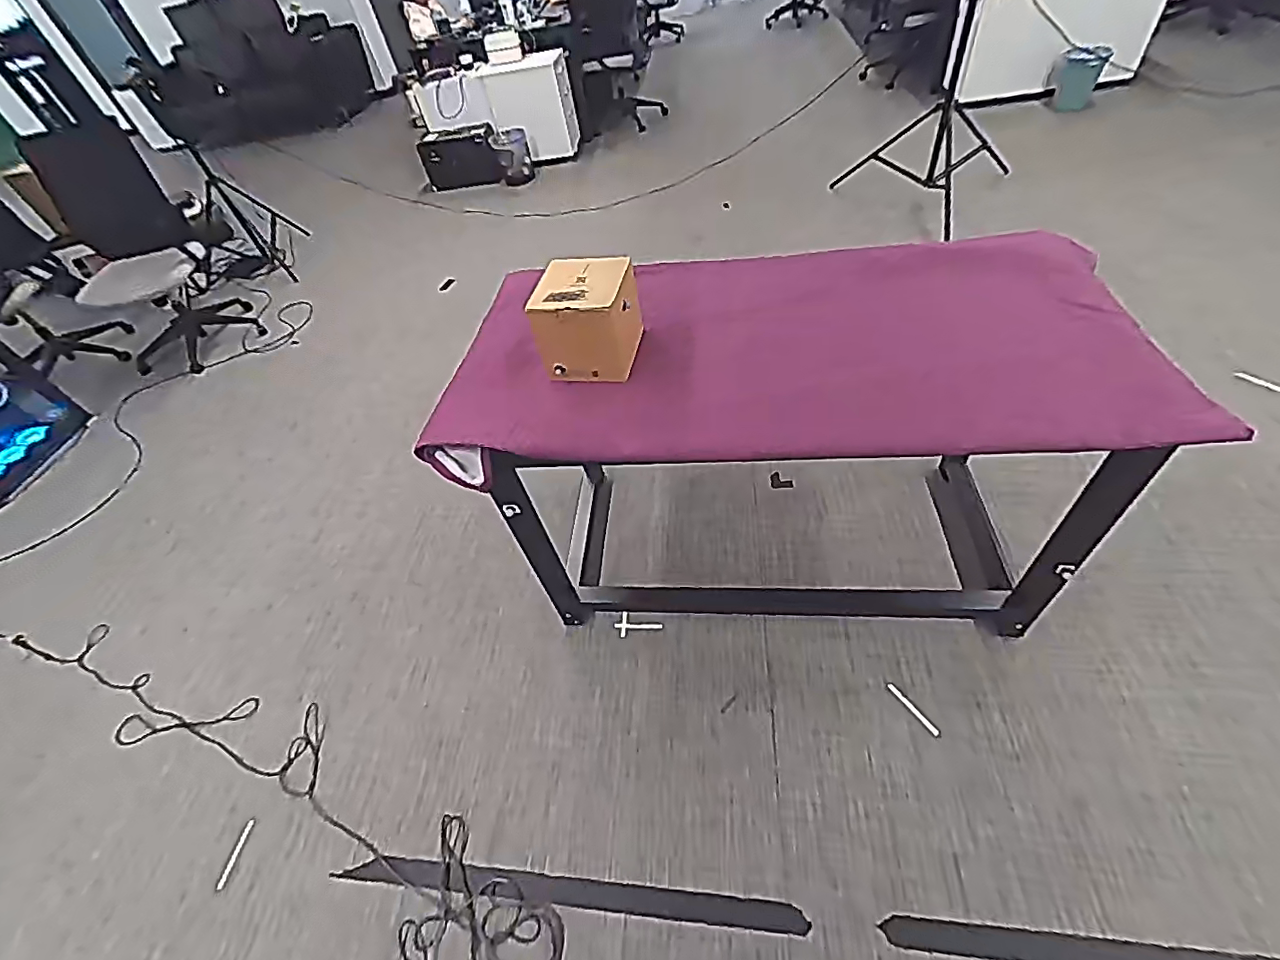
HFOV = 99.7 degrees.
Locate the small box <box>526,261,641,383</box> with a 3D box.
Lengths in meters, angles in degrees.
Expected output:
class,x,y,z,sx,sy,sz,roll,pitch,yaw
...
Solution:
class,x,y,z,sx,sy,sz,roll,pitch,yaw
small box,-0.101,-0.308,1.067,0.168,0.176,0.179,4,50,14
